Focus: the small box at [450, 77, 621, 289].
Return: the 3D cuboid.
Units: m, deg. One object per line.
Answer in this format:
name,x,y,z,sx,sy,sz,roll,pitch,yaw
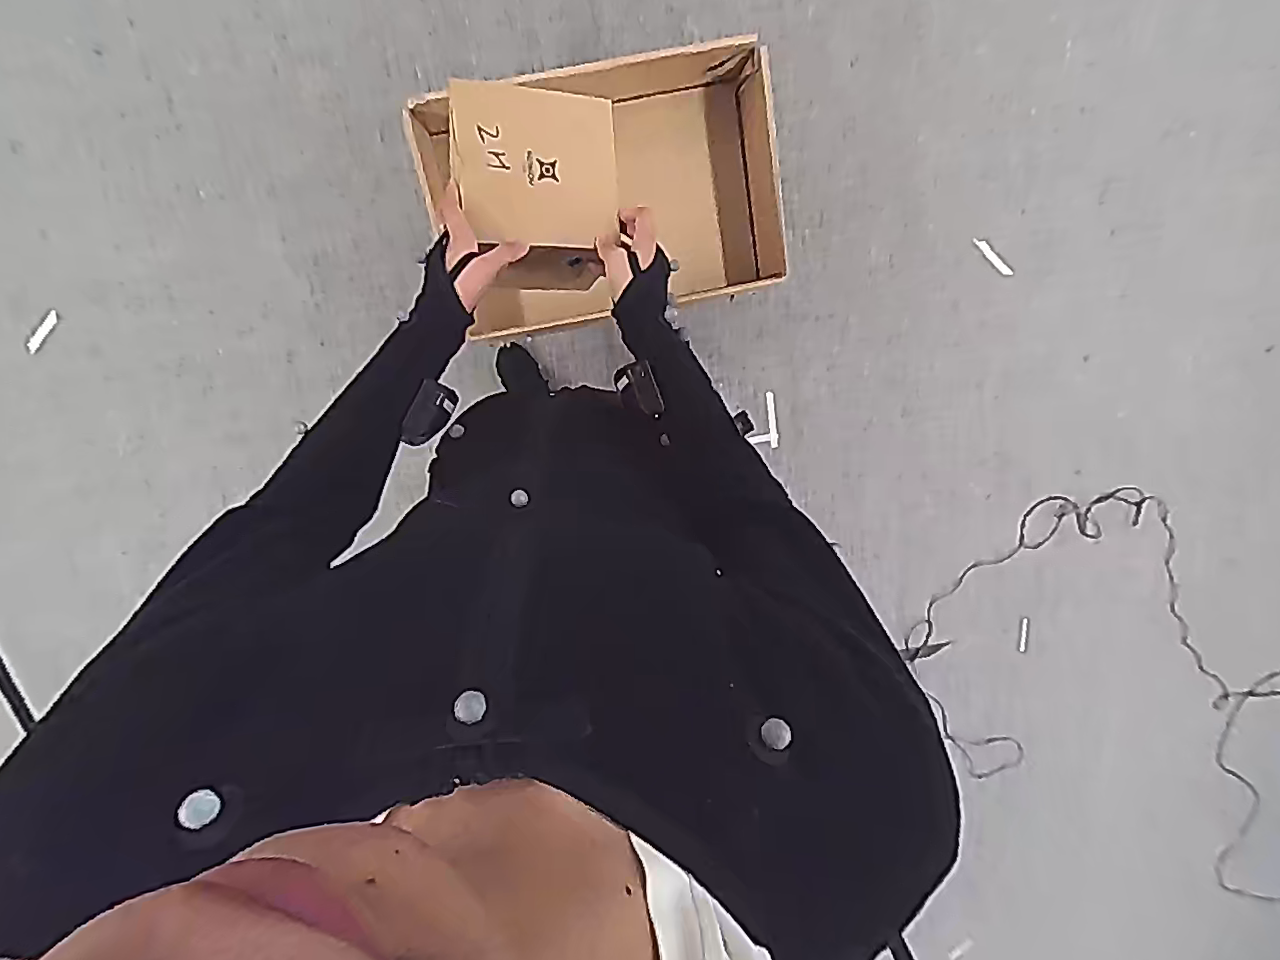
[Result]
small box,-0.133,-0.339,0.656,0.179,0.176,0.168,-5,95,-18
